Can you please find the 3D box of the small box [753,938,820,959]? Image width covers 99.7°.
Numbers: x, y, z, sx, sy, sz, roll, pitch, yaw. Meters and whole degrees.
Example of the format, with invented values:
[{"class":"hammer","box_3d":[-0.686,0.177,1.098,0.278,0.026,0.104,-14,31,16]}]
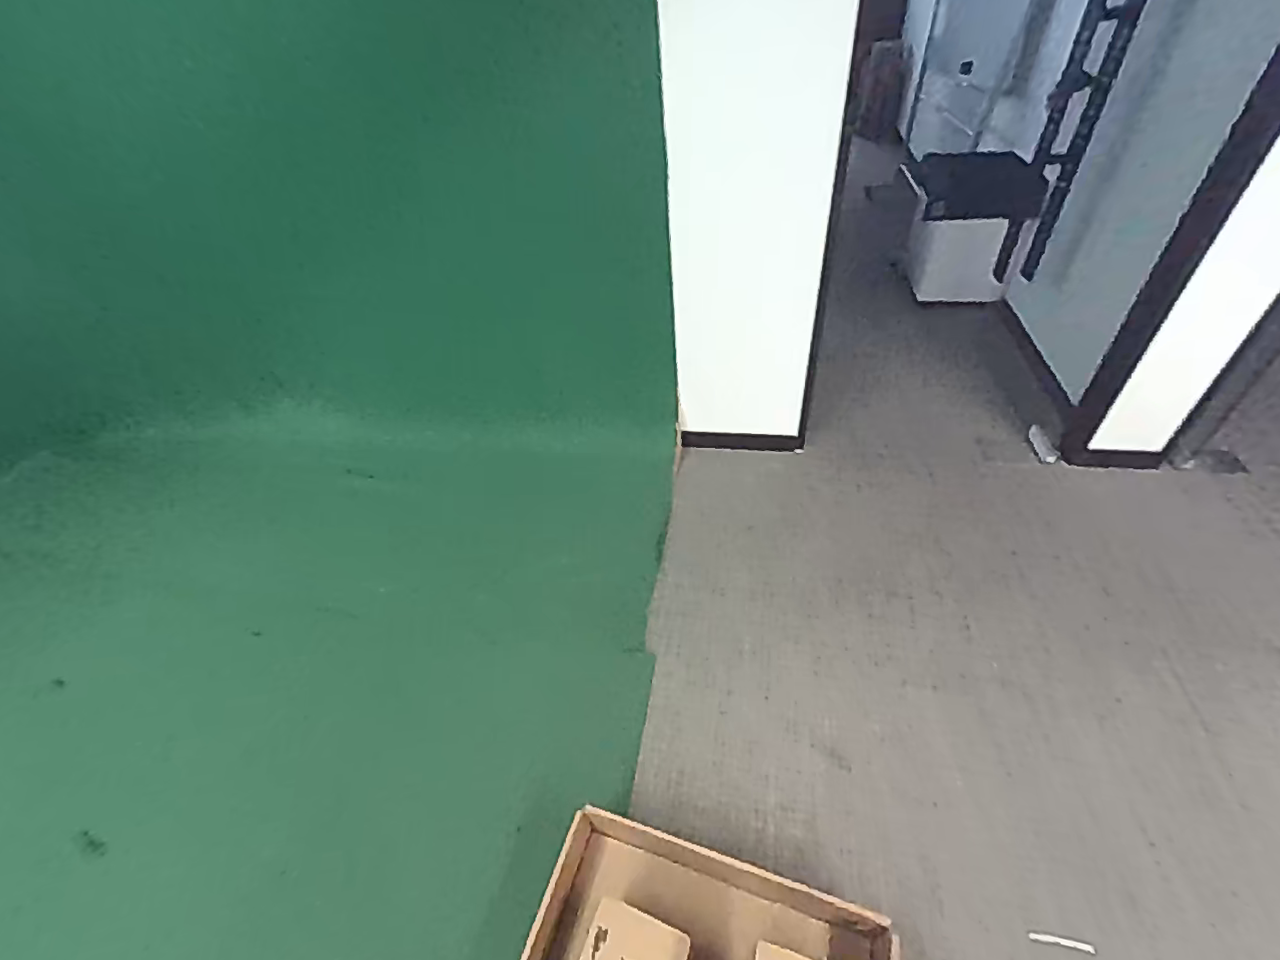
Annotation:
[{"class":"small box","box_3d":[0.244,0.804,0.782,0.179,0.176,0.168,8,46,16]}]
